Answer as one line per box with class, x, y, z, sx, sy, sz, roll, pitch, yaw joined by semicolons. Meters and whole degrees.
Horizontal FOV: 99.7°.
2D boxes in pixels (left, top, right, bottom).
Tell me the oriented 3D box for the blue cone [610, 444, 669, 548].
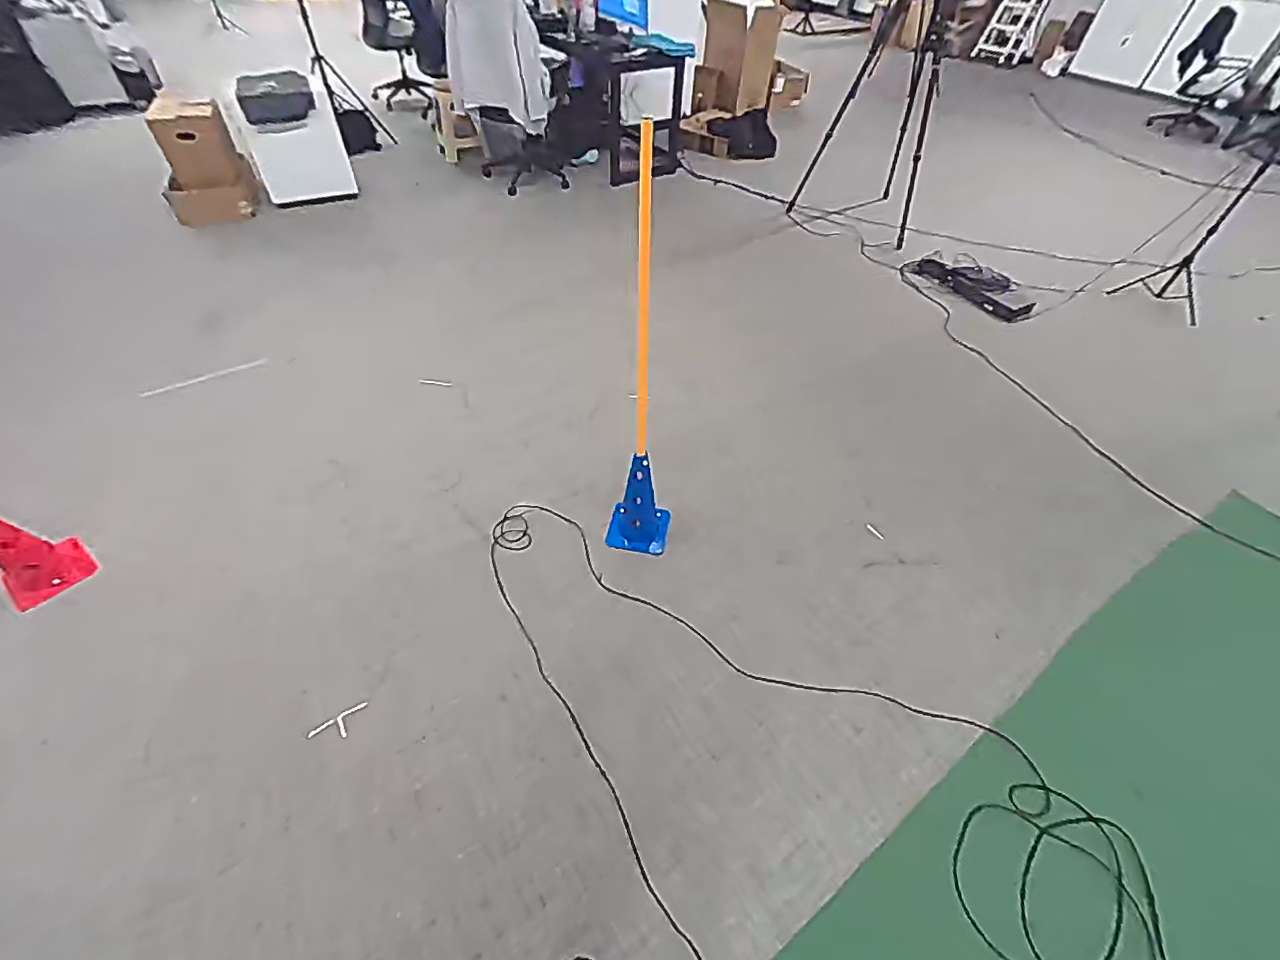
blue cone;0.004;0.033;1.739;0.192;0.380;0.193;9;46;6
